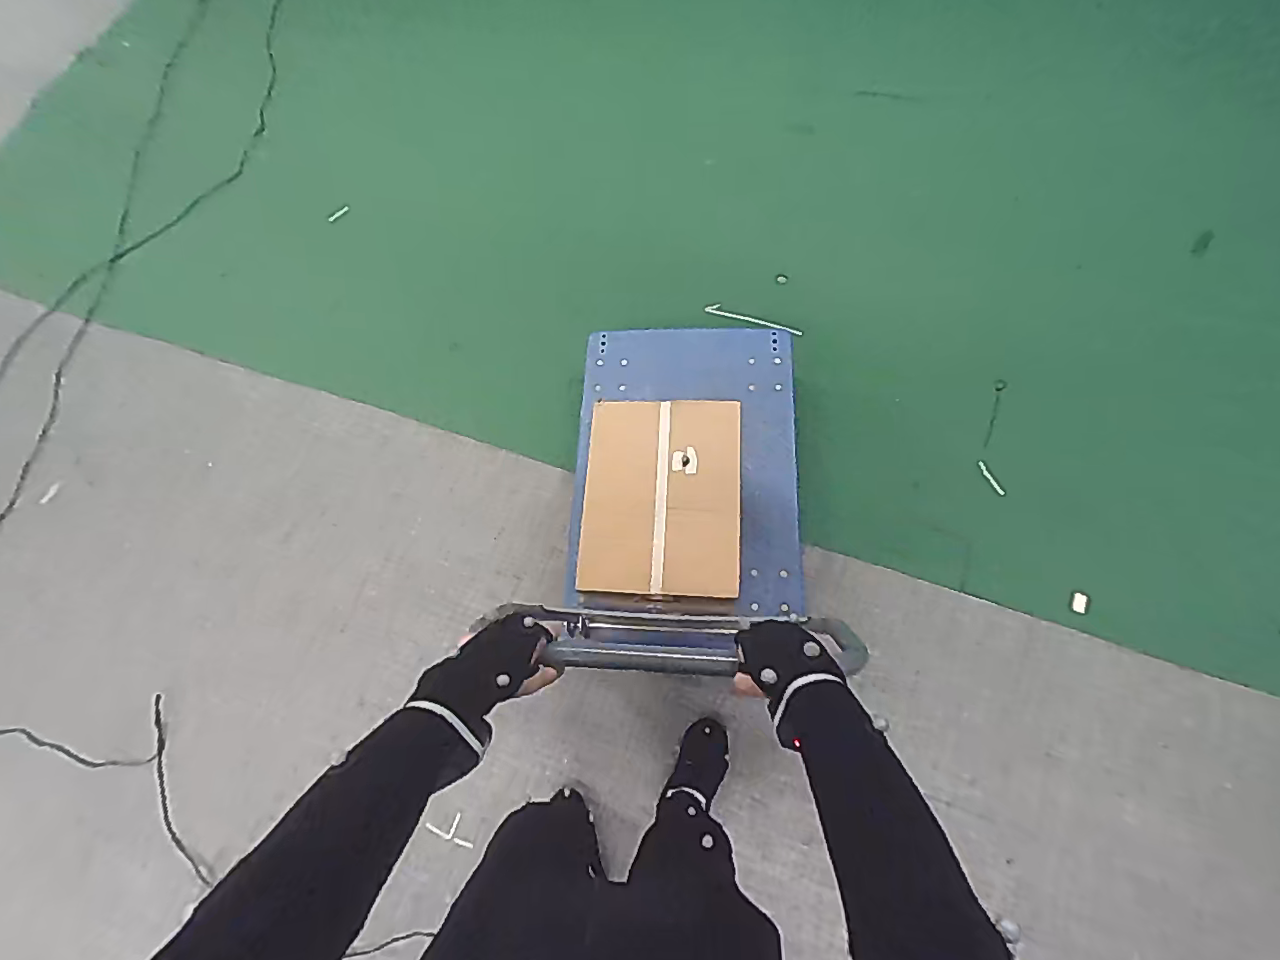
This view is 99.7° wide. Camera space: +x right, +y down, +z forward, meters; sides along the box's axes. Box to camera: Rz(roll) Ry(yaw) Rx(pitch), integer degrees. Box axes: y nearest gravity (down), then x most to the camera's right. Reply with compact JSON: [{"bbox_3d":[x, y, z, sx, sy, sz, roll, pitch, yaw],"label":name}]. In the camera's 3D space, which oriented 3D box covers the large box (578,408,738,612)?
[{"bbox_3d":[0.058,0.083,1.241,0.320,0.320,0.408,1,70,7],"label":"large box"}]
